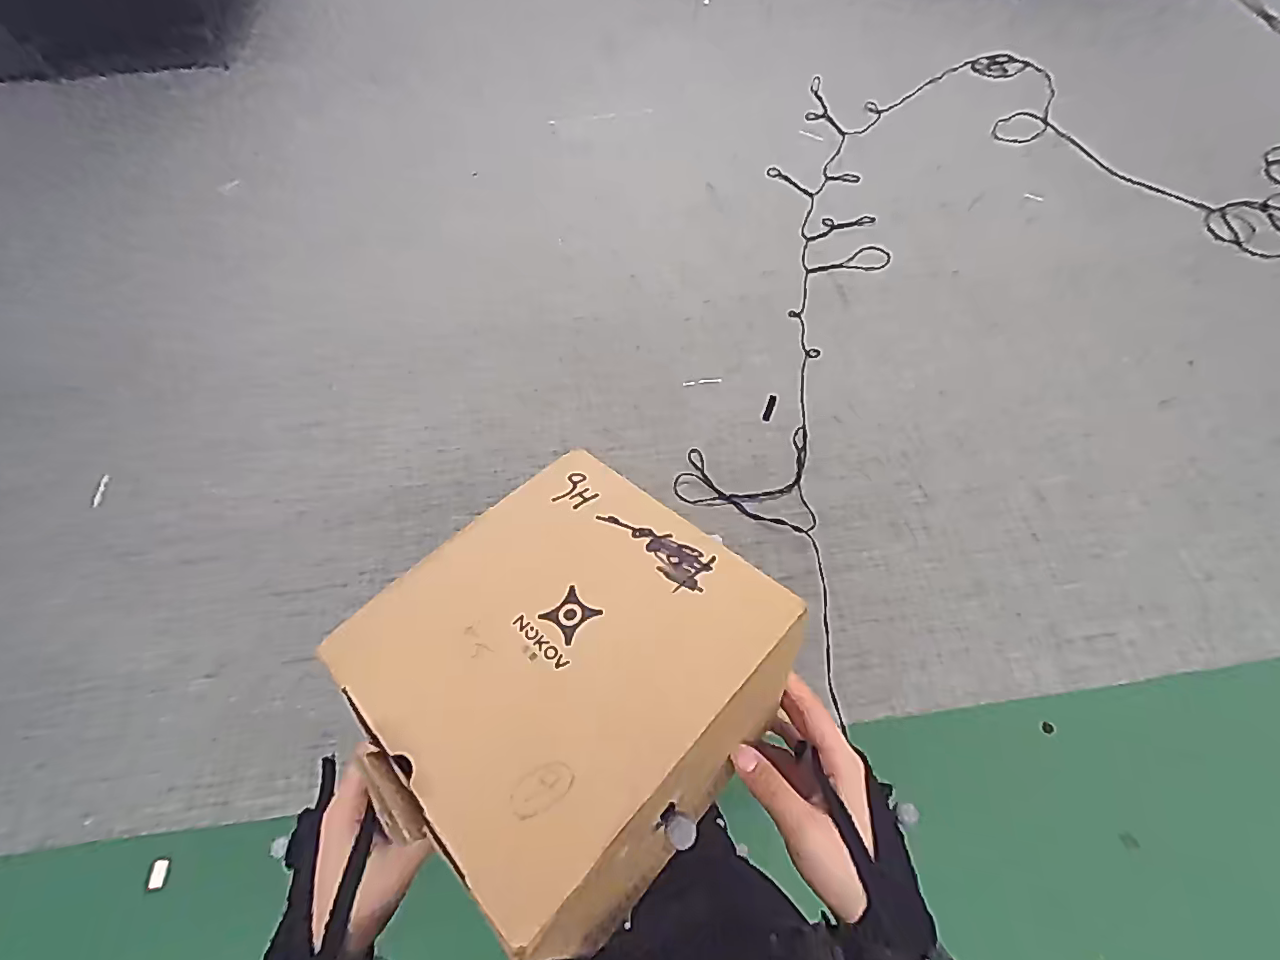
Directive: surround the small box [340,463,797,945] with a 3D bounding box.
[{"bbox_3d":[-0.028,0.130,0.328,0.168,0.176,0.179,34,61,30],"label":"small box"}]
